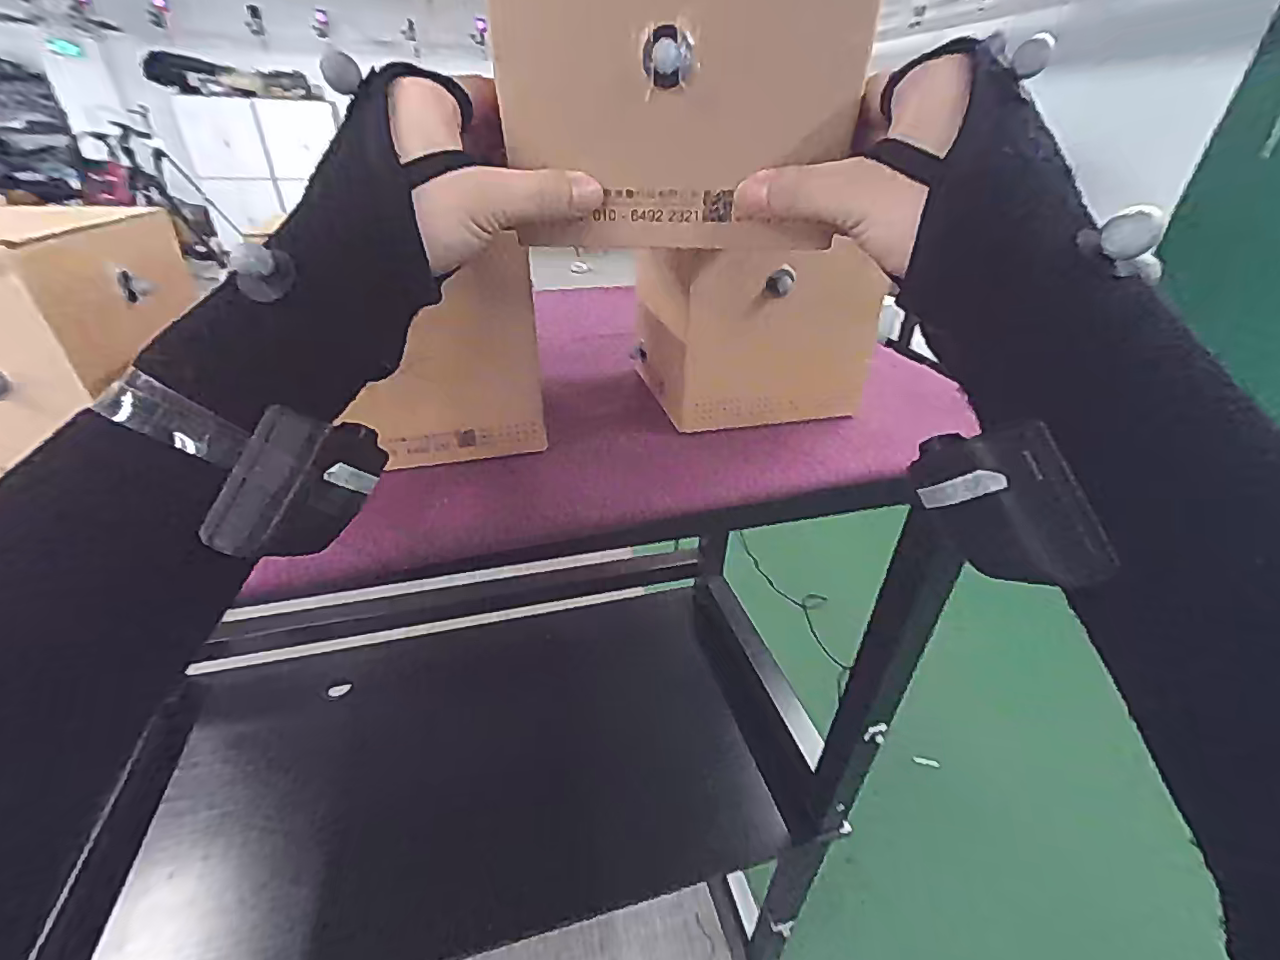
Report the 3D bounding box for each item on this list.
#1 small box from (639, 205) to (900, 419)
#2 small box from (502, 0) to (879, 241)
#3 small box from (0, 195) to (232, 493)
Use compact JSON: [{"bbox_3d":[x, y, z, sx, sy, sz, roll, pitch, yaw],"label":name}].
[{"bbox_3d":[0.102,-0.165,0.509,0.179,0.176,0.168,-7,33,-13],"label":"small box"},{"bbox_3d":[0.027,-0.240,0.299,0.168,0.176,0.179,2,37,2],"label":"small box"},{"bbox_3d":[-0.432,-0.099,0.381,0.168,0.176,0.179,-5,32,-12],"label":"small box"}]
